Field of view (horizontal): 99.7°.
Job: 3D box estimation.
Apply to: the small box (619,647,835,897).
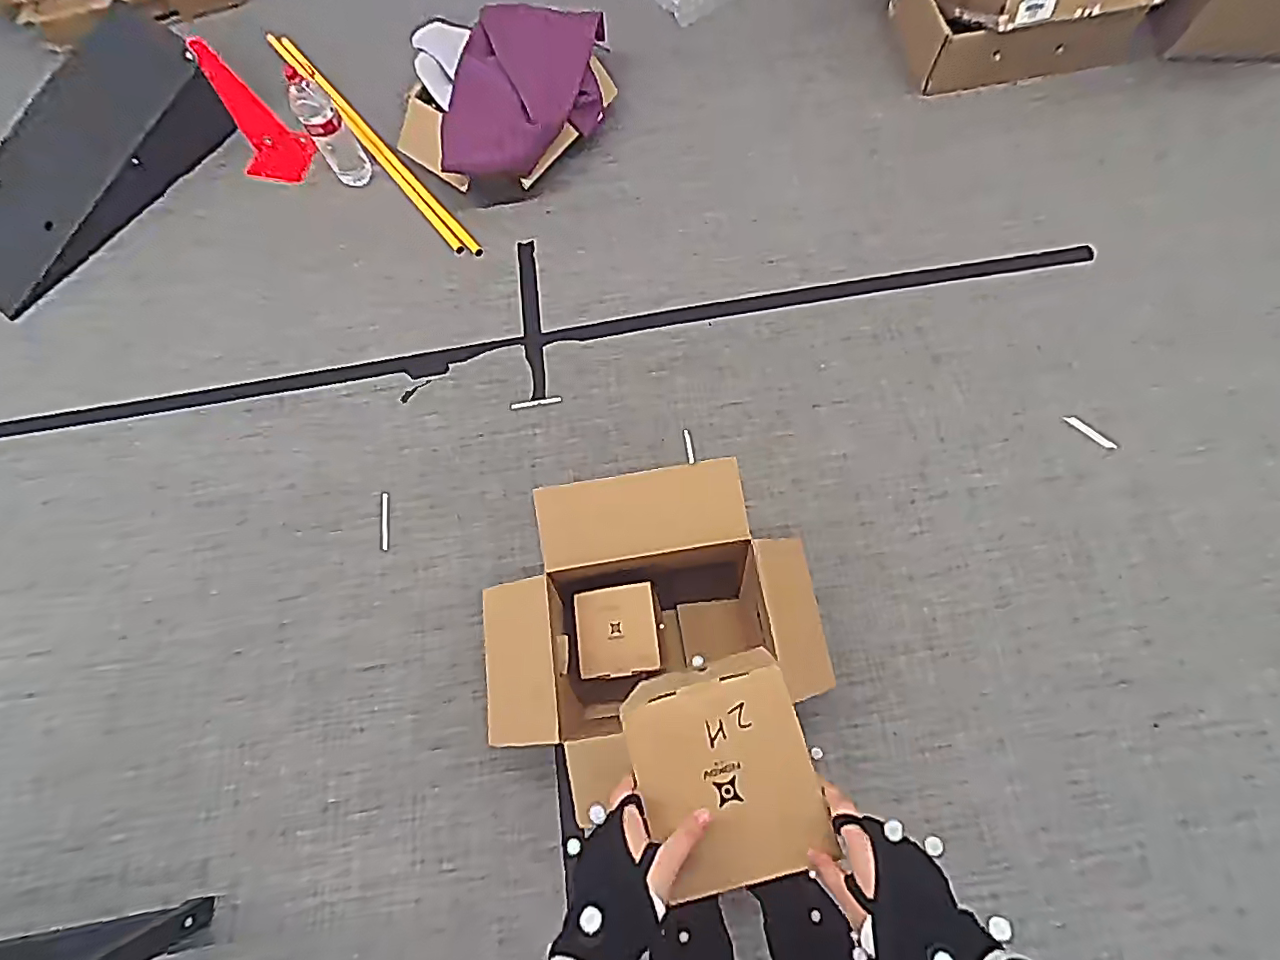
[{"bbox_3d":[0.089,0.295,0.585,0.168,0.176,0.179,-17,77,4],"label":"small box"}]
